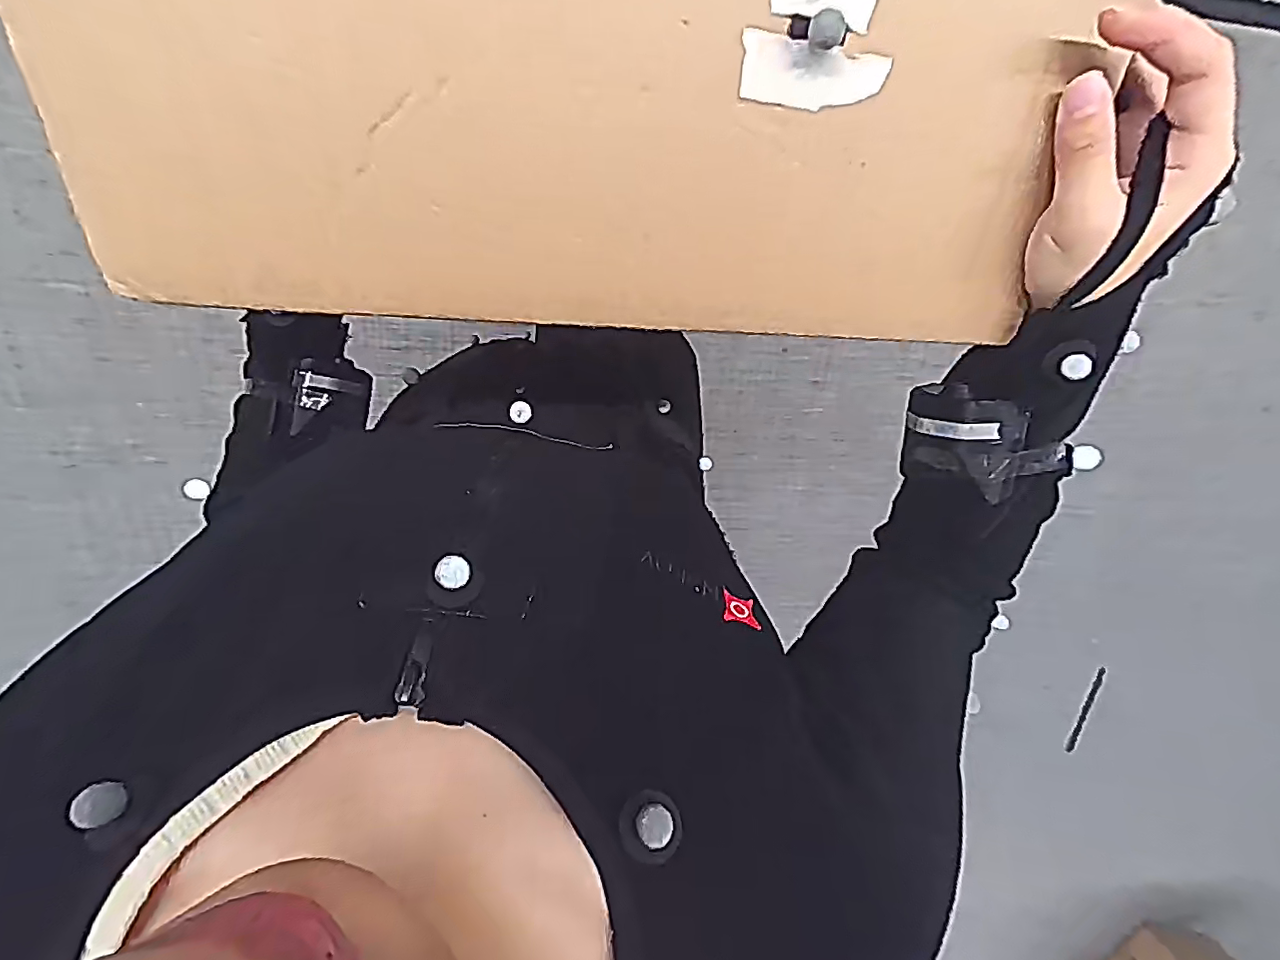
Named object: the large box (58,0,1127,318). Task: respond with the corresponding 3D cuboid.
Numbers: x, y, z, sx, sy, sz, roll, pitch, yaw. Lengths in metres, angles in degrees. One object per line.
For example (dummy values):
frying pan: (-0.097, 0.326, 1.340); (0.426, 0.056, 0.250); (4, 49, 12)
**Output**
large box: (-0.017, -0.287, 0.312); (0.408, 0.320, 0.320); (0, 119, -11)
